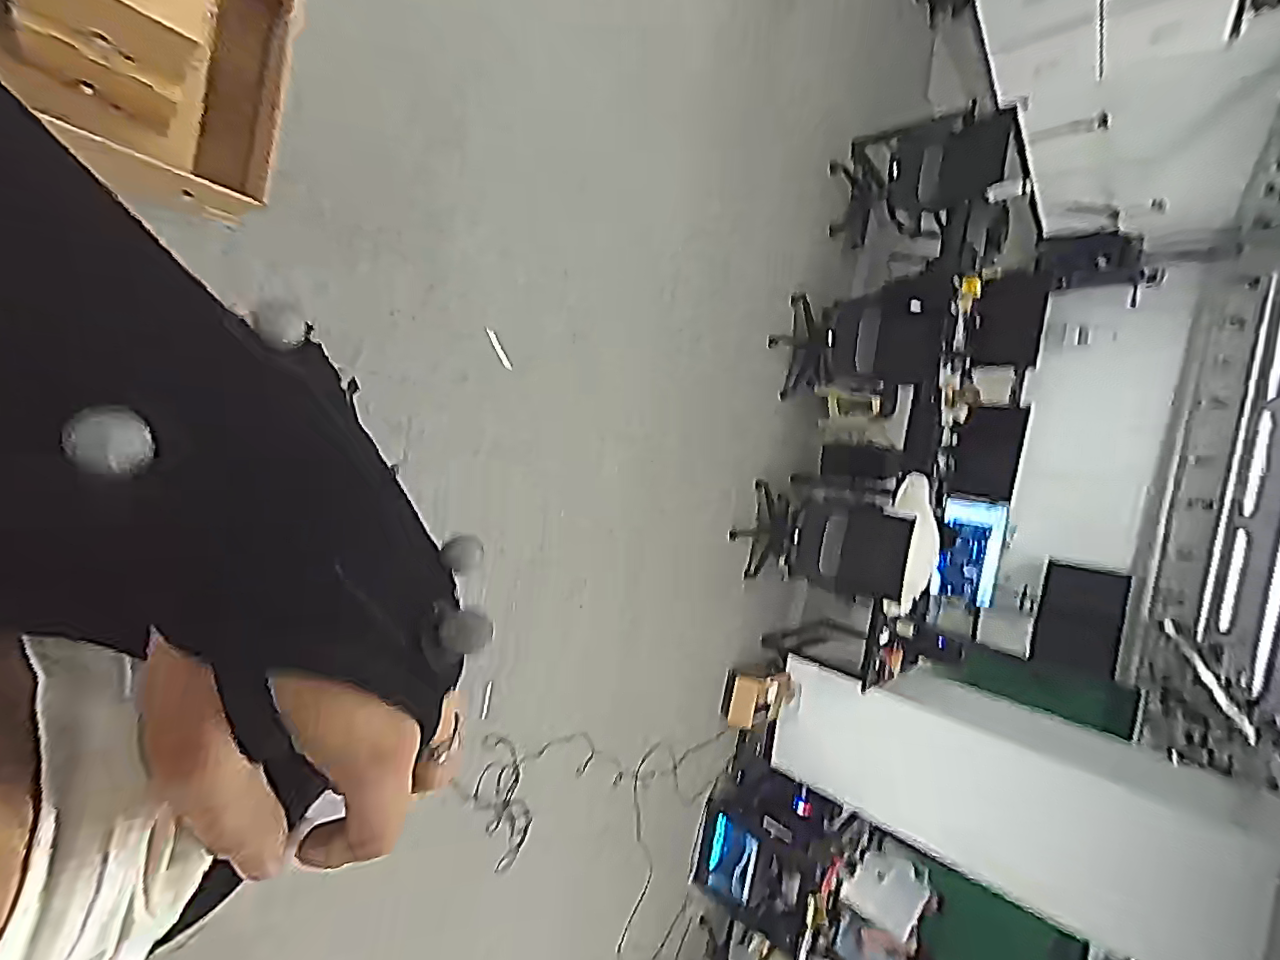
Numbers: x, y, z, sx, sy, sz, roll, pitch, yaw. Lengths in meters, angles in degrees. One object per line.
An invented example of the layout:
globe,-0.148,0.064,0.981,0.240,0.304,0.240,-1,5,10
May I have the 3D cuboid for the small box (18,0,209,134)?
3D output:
small box,-0.764,-0.654,0.788,0.168,0.176,0.179,13,89,-47
